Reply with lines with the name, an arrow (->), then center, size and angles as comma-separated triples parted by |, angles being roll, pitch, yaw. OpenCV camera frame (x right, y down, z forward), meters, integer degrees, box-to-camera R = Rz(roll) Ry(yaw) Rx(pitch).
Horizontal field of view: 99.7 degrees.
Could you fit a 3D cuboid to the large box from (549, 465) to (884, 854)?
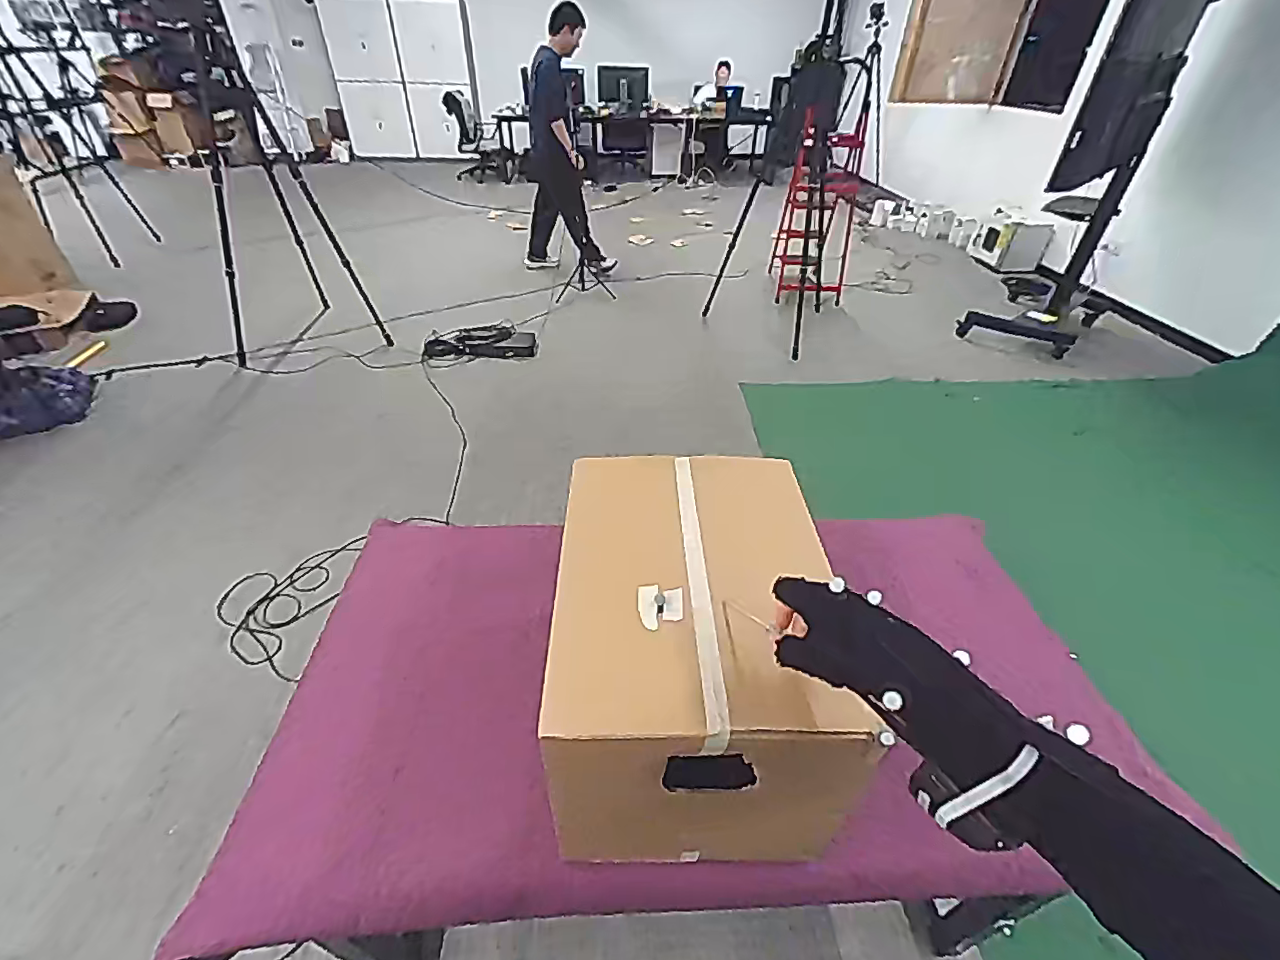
large box -> 0.059, 0.223, 0.730 | 0.320, 0.320, 0.408 | 1, 39, -2
